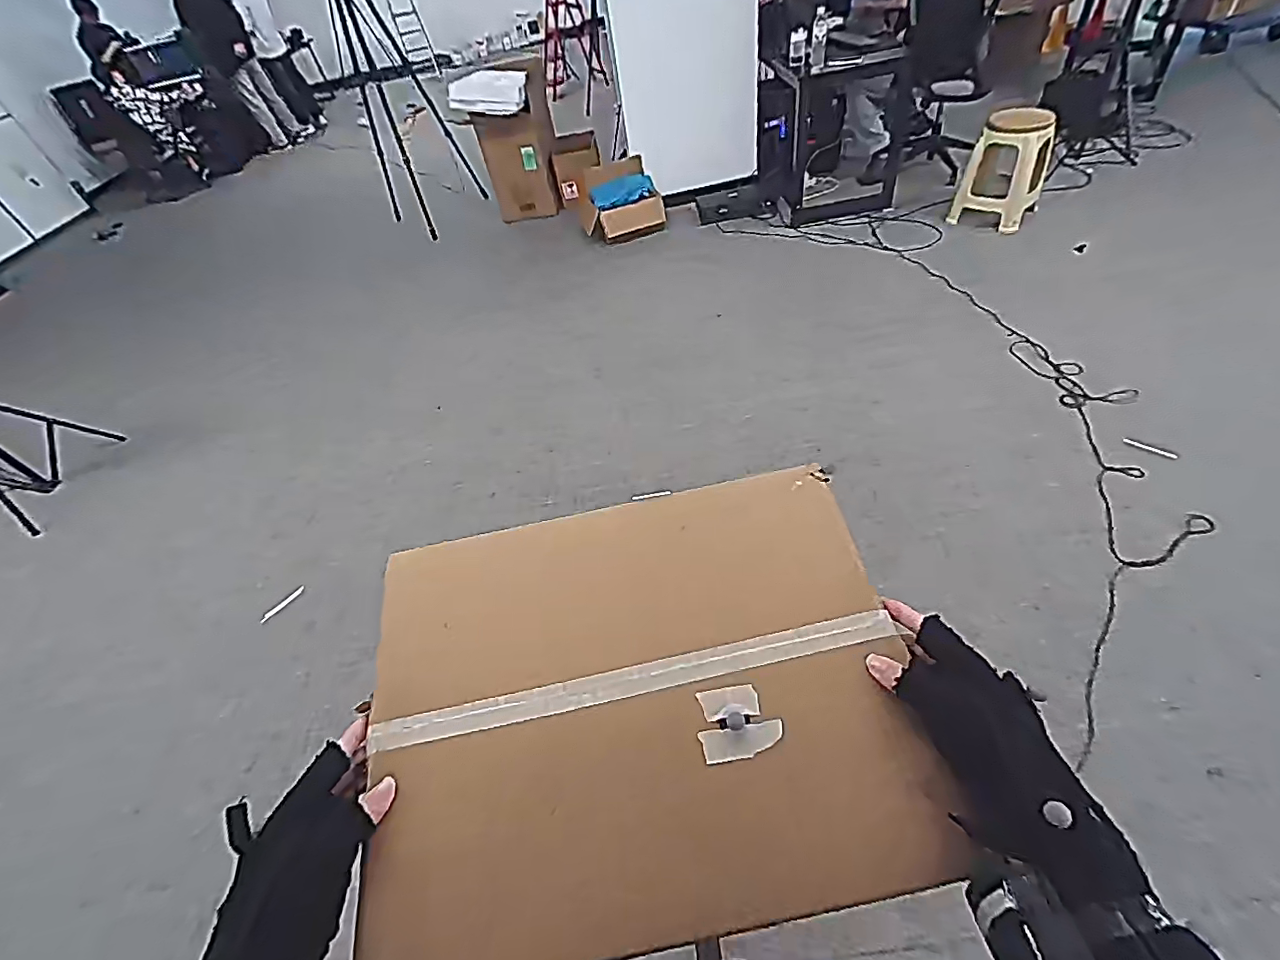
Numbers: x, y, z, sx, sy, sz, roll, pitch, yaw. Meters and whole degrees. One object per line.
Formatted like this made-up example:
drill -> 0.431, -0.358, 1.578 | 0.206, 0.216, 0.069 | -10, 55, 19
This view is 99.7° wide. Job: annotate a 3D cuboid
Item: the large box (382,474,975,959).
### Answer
large box -> 0.014, 0.242, 0.552 | 0.408, 0.320, 0.320 | -12, 57, -1
